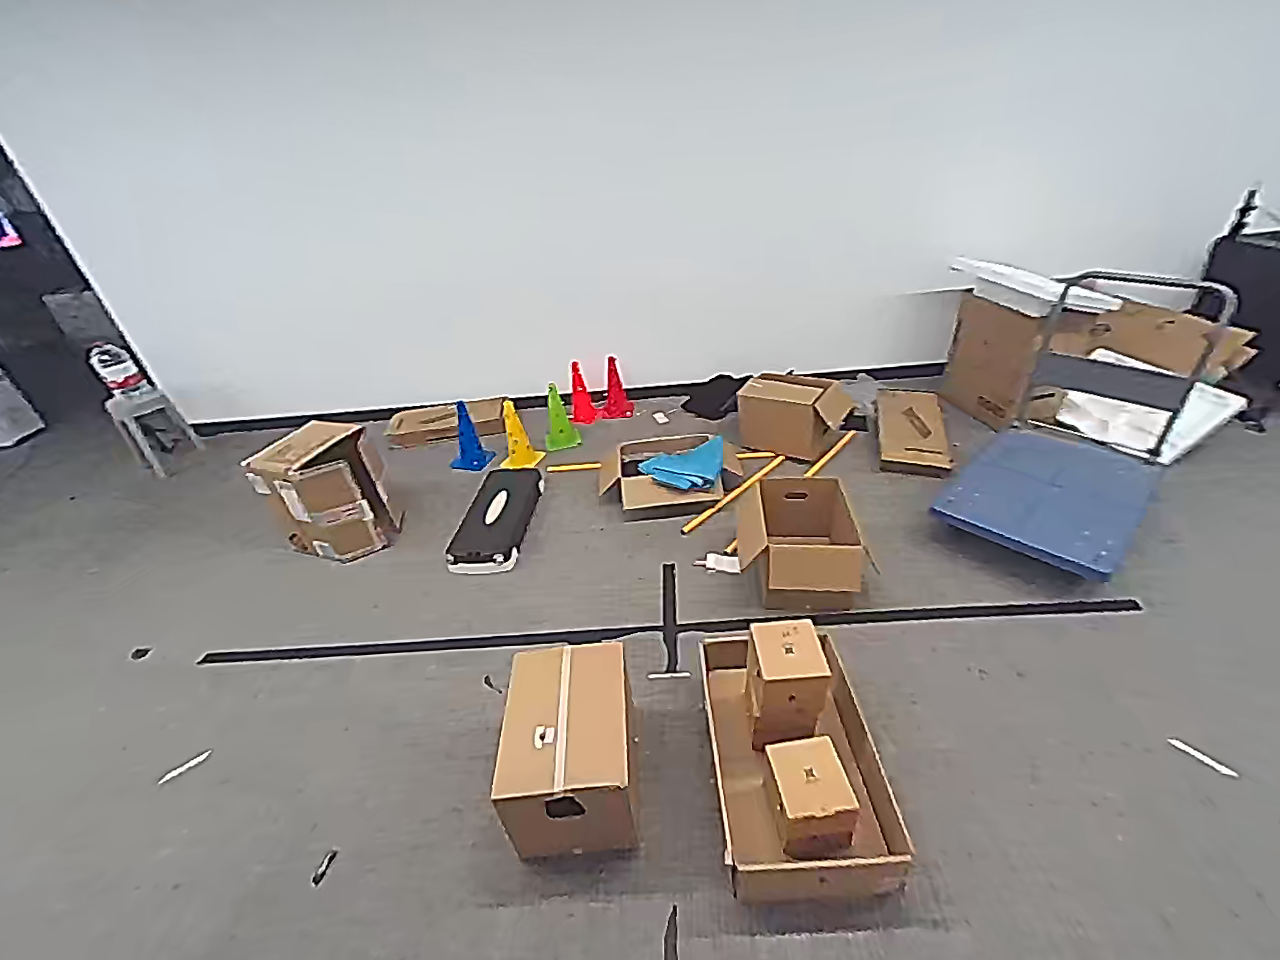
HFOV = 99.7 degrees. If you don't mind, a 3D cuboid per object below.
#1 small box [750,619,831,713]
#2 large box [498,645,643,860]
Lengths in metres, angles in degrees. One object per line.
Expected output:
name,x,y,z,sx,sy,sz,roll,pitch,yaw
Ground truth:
small box,0.386,0.491,1.414,0.168,0.176,0.179,-4,35,1
large box,-0.168,0.710,1.440,0.320,0.320,0.408,-7,35,0
